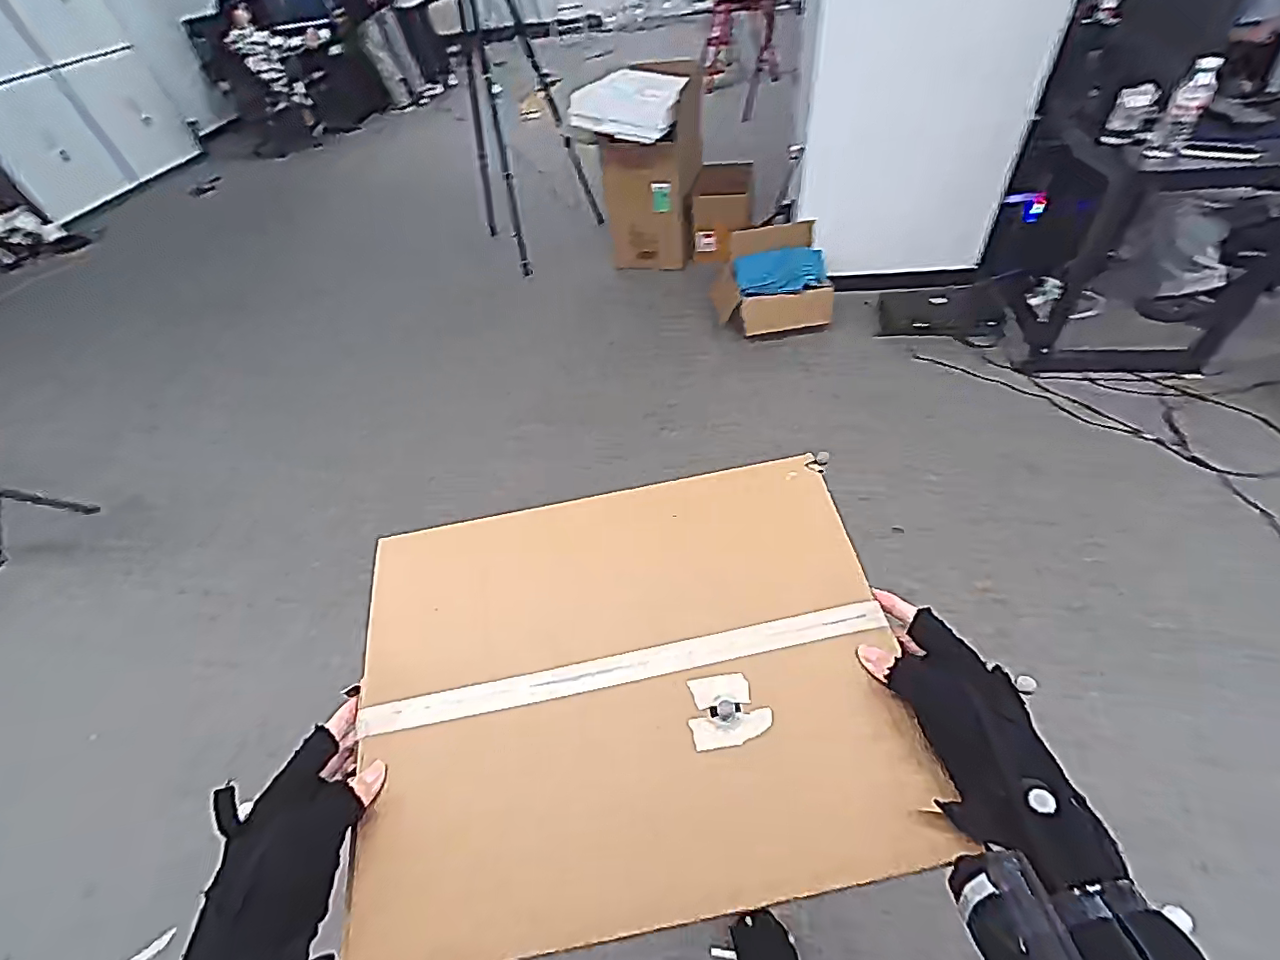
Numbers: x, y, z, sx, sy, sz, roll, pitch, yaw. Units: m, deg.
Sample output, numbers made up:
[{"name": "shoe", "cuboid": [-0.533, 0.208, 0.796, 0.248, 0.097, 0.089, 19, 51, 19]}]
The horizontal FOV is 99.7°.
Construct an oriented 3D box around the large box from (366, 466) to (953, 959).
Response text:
[{"name": "large box", "cuboid": [-0.001, 0.232, 0.555, 0.408, 0.320, 0.320, -12, 58, -2]}]
